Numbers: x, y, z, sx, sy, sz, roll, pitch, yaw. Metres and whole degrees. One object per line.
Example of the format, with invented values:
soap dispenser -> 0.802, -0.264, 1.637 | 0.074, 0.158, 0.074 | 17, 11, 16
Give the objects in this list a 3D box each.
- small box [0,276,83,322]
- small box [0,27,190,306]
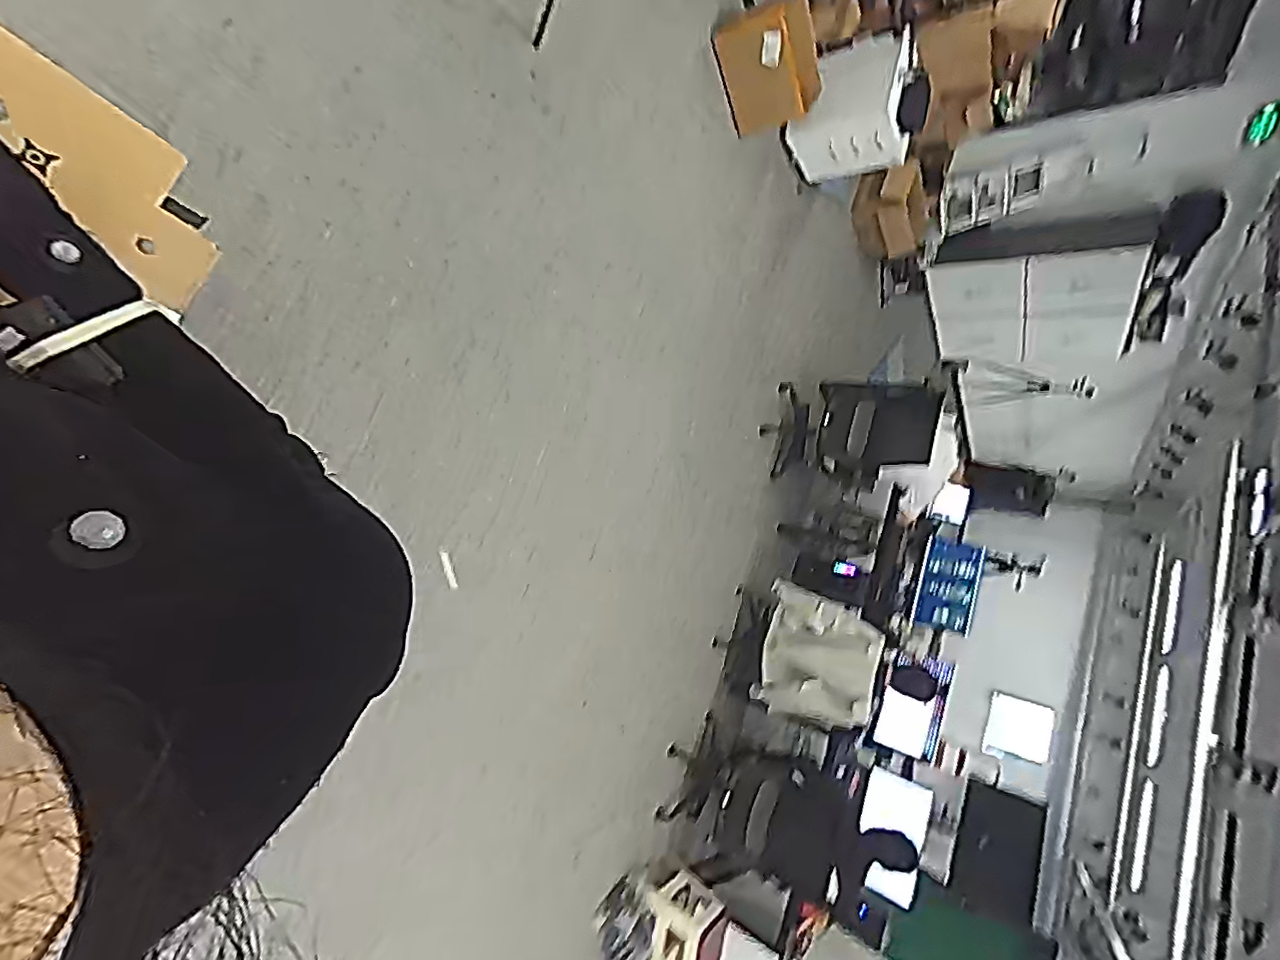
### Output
small box -> -0.853, -0.328, 0.732 | 0.179, 0.176, 0.168 | 34, 72, -51
small box -> -0.599, -0.292, 0.529 | 0.168, 0.176, 0.179 | 35, 72, -50
